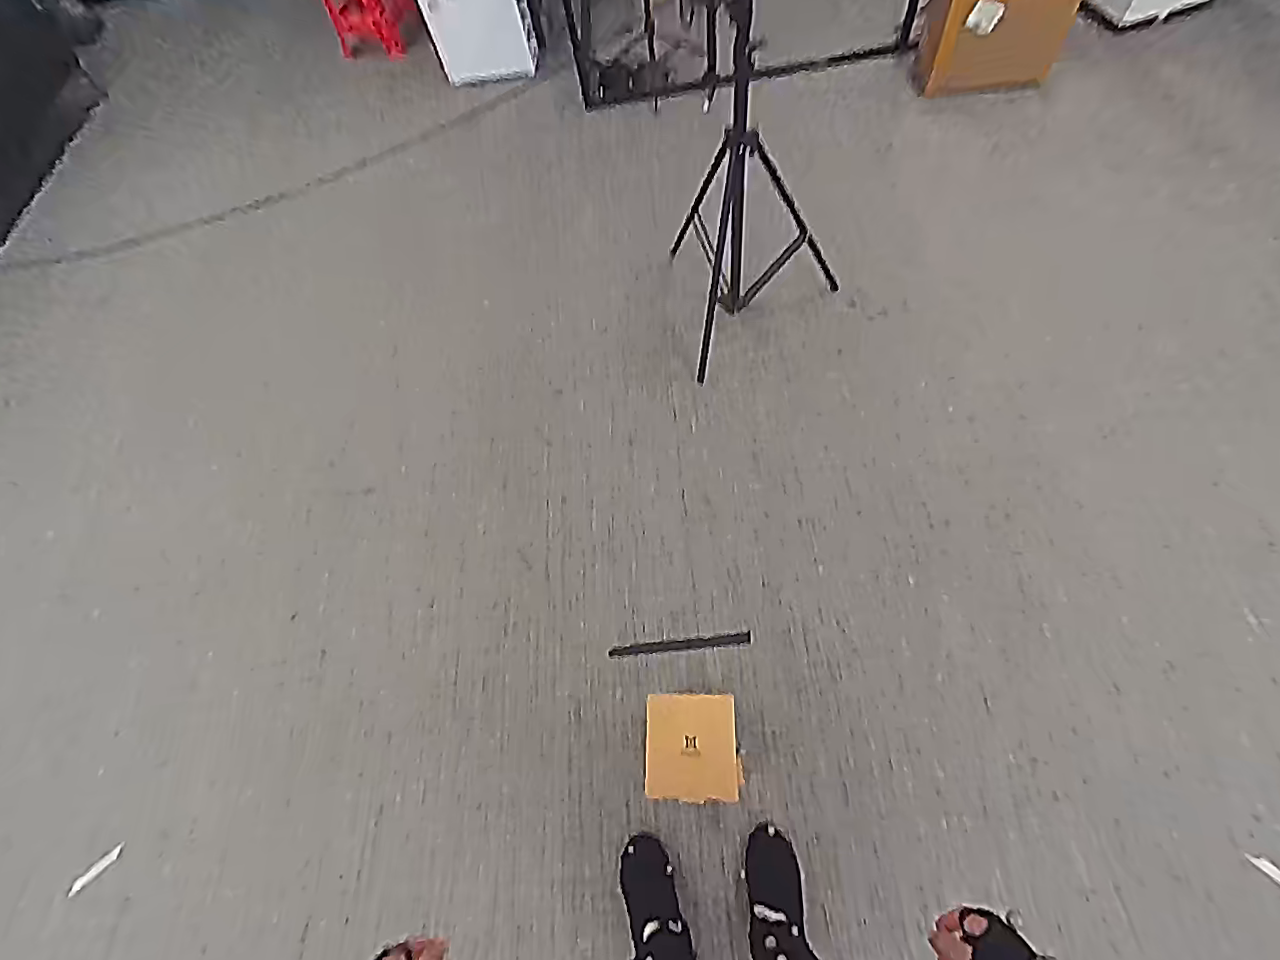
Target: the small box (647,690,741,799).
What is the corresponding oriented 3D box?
[{"bbox_3d":[0.105,0.511,1.051,0.168,0.176,0.179,-2,64,8],"label":"small box"}]
